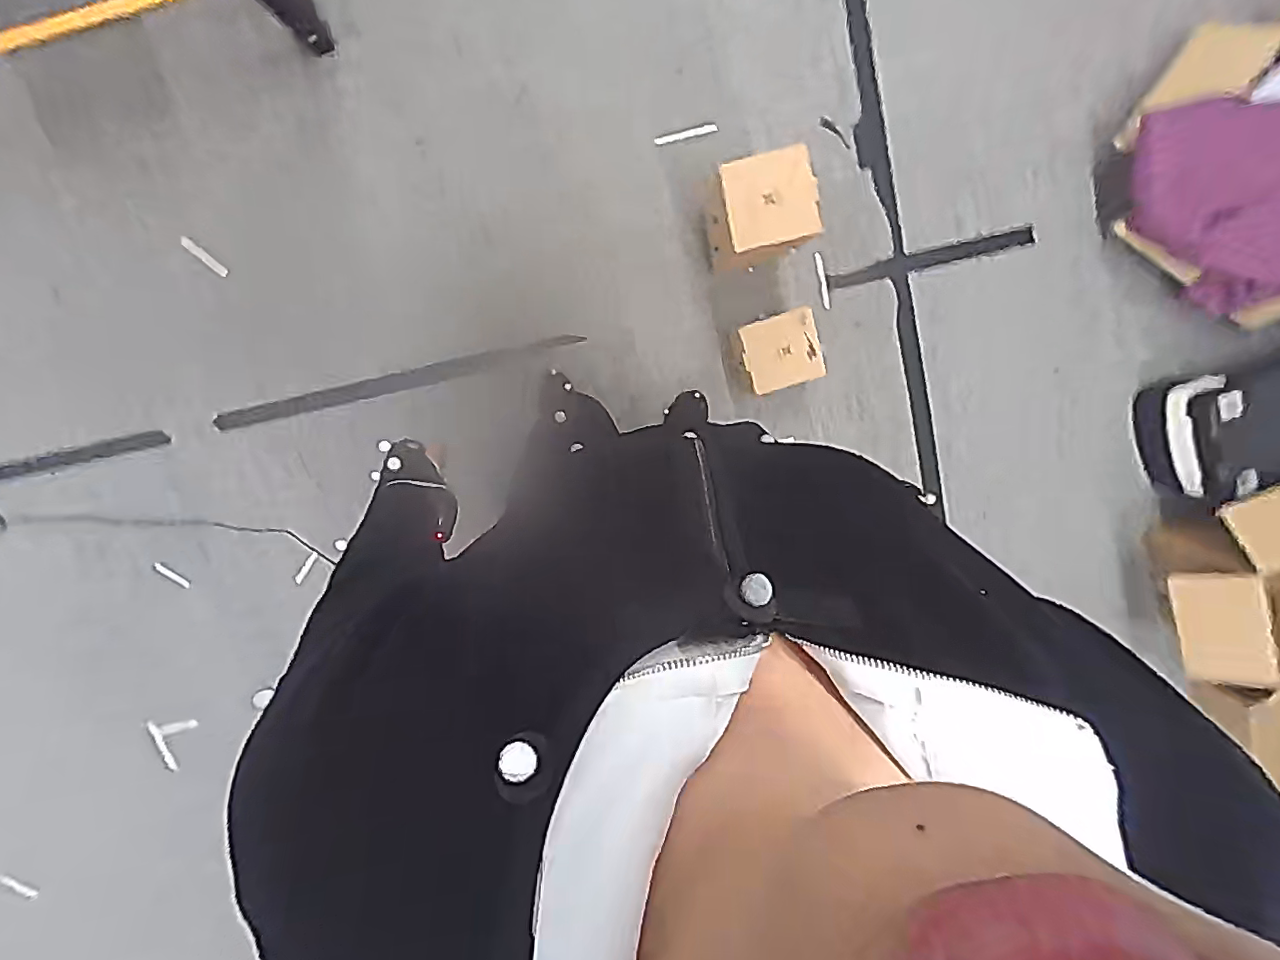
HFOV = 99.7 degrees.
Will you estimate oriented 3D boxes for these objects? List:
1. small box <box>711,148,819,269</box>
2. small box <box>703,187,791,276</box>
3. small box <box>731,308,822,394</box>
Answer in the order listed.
[{"bbox_3d":[0.256,-0.560,1.137,0.179,0.176,0.168,-12,100,4],"label":"small box"},{"bbox_3d":[0.252,-0.599,1.295,0.168,0.176,0.179,-11,101,3],"label":"small box"},{"bbox_3d":[0.333,-0.319,1.355,0.179,0.176,0.168,-16,101,5],"label":"small box"}]
